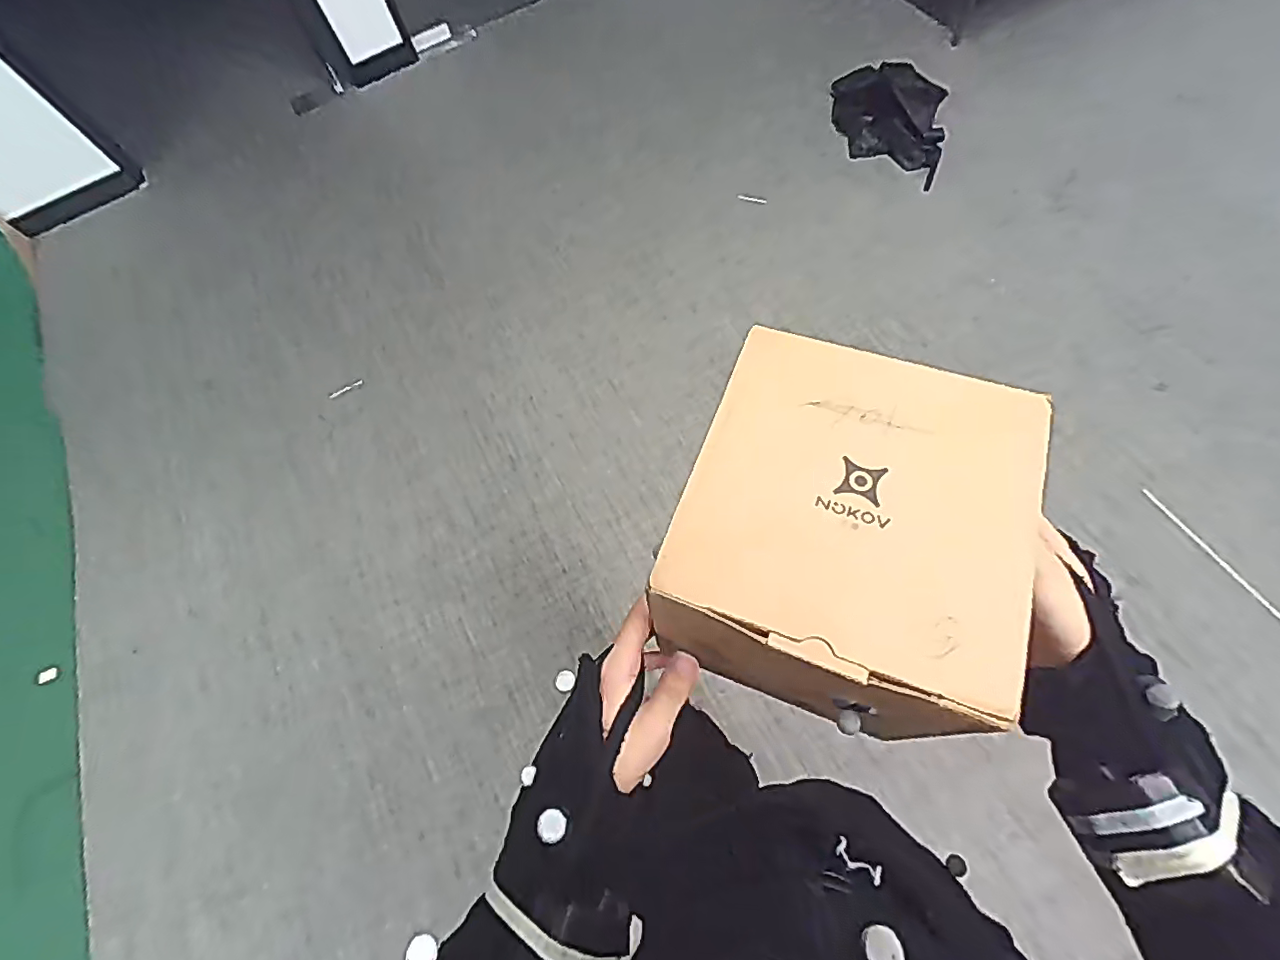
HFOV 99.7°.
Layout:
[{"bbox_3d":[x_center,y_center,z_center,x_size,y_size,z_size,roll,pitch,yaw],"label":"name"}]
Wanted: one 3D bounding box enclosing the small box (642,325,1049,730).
[{"bbox_3d":[0.113,0.040,0.340,0.168,0.176,0.179,18,65,13],"label":"small box"}]
